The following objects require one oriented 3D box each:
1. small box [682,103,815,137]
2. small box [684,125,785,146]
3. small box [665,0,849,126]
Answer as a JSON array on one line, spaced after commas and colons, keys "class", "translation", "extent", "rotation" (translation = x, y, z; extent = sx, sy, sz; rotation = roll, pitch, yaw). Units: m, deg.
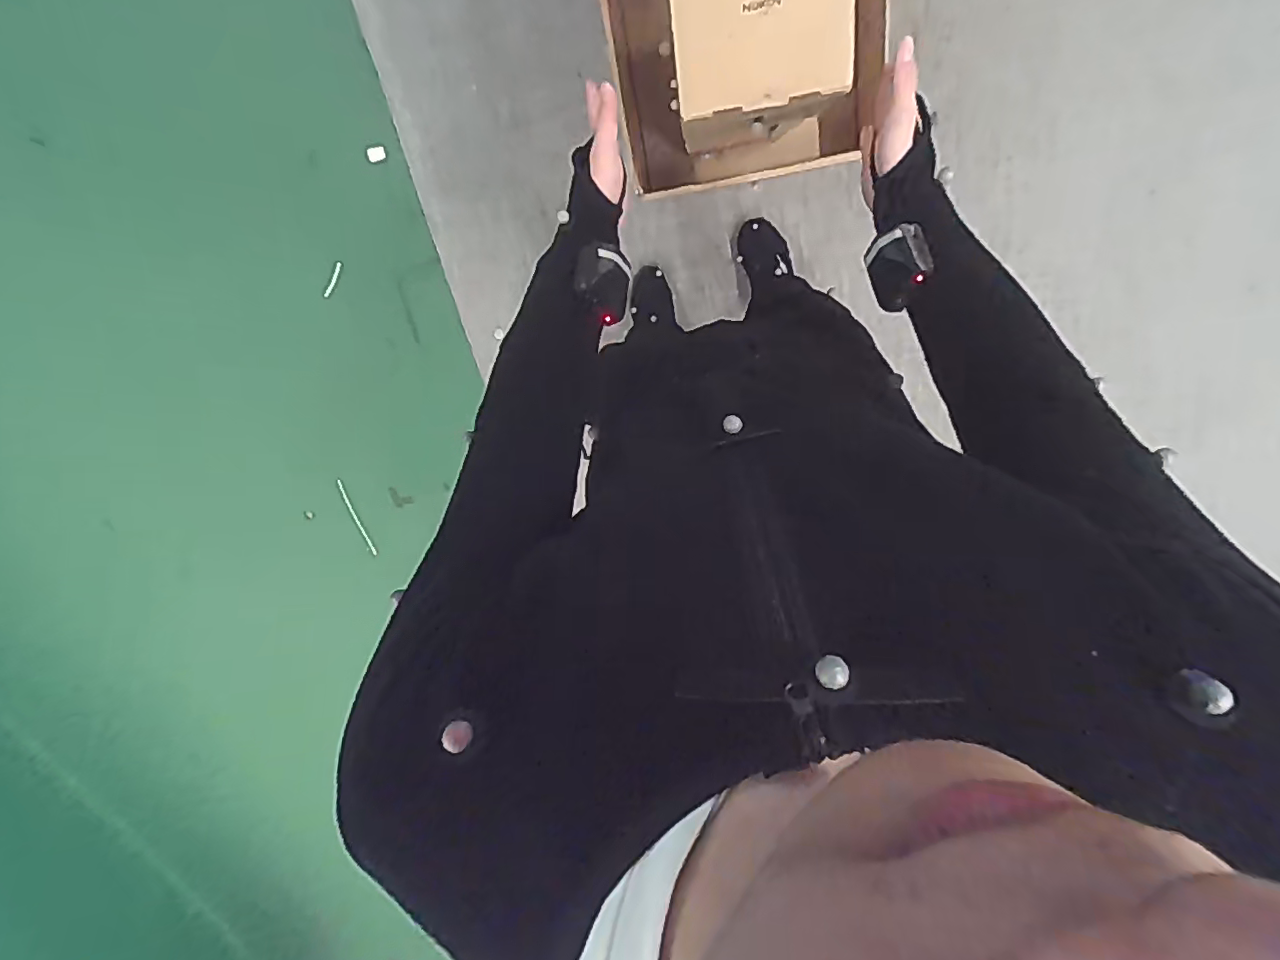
[{"class": "small box", "translation": [0.132, -0.558, 0.696], "extent": [0.168, 0.176, 0.179], "rotation": [-4, 116, 9]}, {"class": "small box", "translation": [0.146, -0.634, 0.839], "extent": [0.168, 0.176, 0.179], "rotation": [-6, 115, 10]}, {"class": "small box", "translation": [0.112, -0.479, 0.554], "extent": [0.168, 0.176, 0.179], "rotation": [-5, 117, 9]}]
